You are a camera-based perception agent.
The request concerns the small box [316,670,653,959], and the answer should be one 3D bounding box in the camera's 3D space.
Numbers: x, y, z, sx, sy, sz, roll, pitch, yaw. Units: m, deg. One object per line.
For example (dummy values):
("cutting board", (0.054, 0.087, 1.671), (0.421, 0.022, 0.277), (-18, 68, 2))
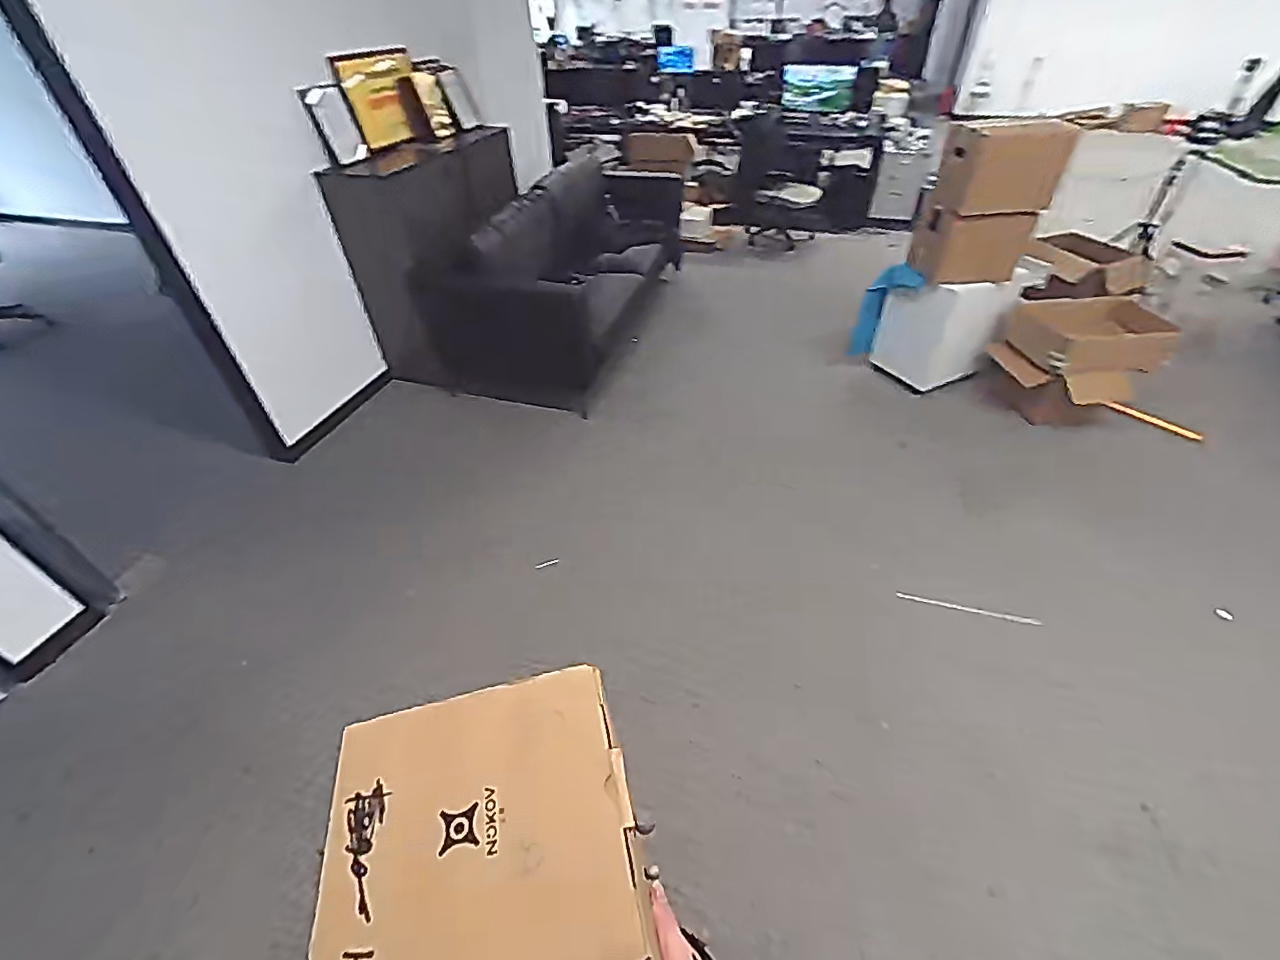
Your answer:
("small box", (-0.090, 0.263, 0.380), (0.179, 0.176, 0.168), (-11, 45, -6))
